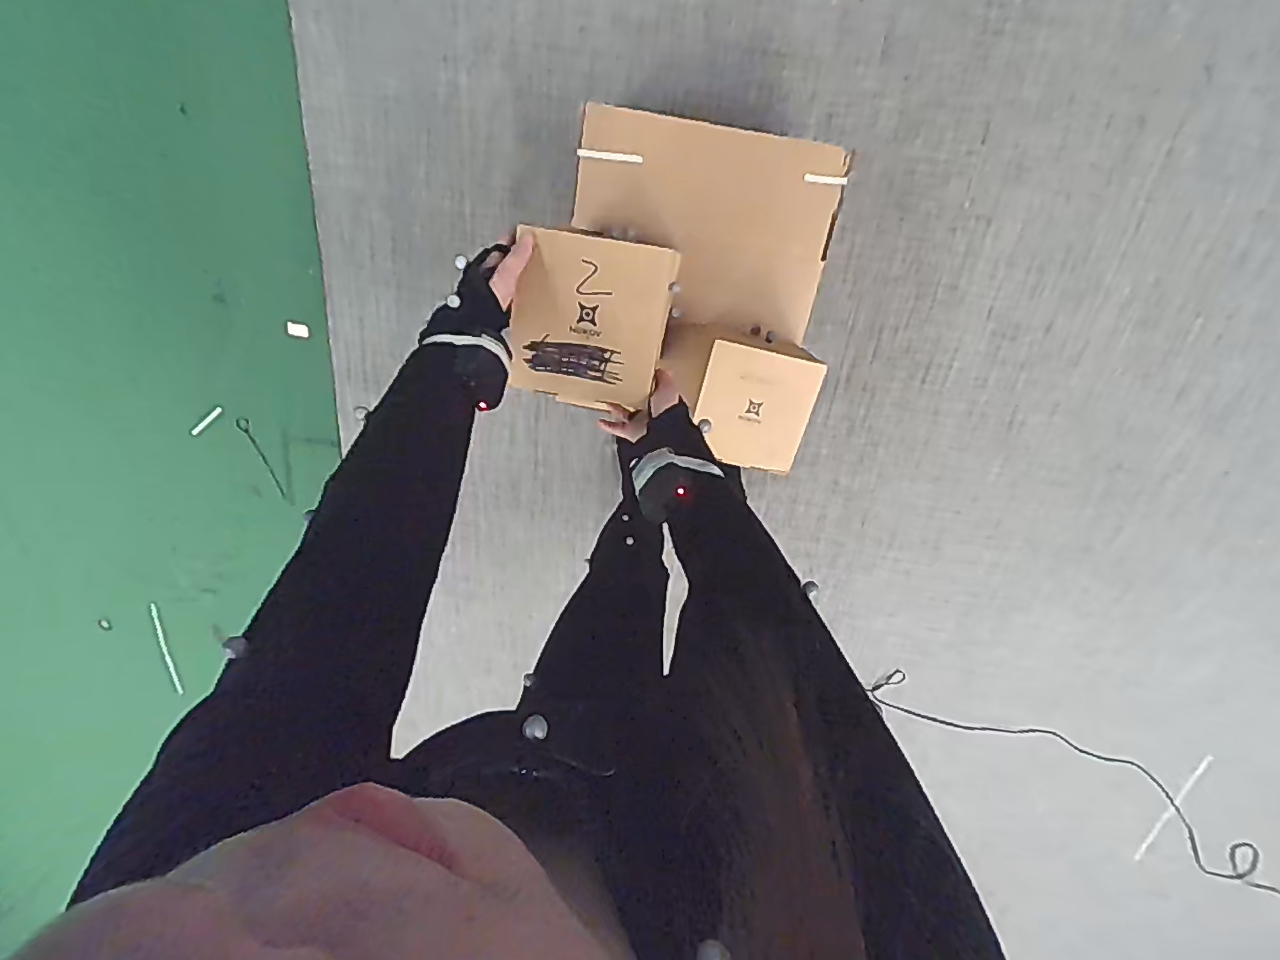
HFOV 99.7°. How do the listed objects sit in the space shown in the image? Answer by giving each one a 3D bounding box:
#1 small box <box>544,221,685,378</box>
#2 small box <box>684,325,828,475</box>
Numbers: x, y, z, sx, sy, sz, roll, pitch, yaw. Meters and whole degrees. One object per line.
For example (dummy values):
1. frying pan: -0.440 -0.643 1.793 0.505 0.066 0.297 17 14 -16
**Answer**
1. small box: -0.034 -0.270 0.810 0.168 0.176 0.179 13 112 -1
2. small box: 0.169 -0.133 0.853 0.168 0.176 0.179 13 112 -3
